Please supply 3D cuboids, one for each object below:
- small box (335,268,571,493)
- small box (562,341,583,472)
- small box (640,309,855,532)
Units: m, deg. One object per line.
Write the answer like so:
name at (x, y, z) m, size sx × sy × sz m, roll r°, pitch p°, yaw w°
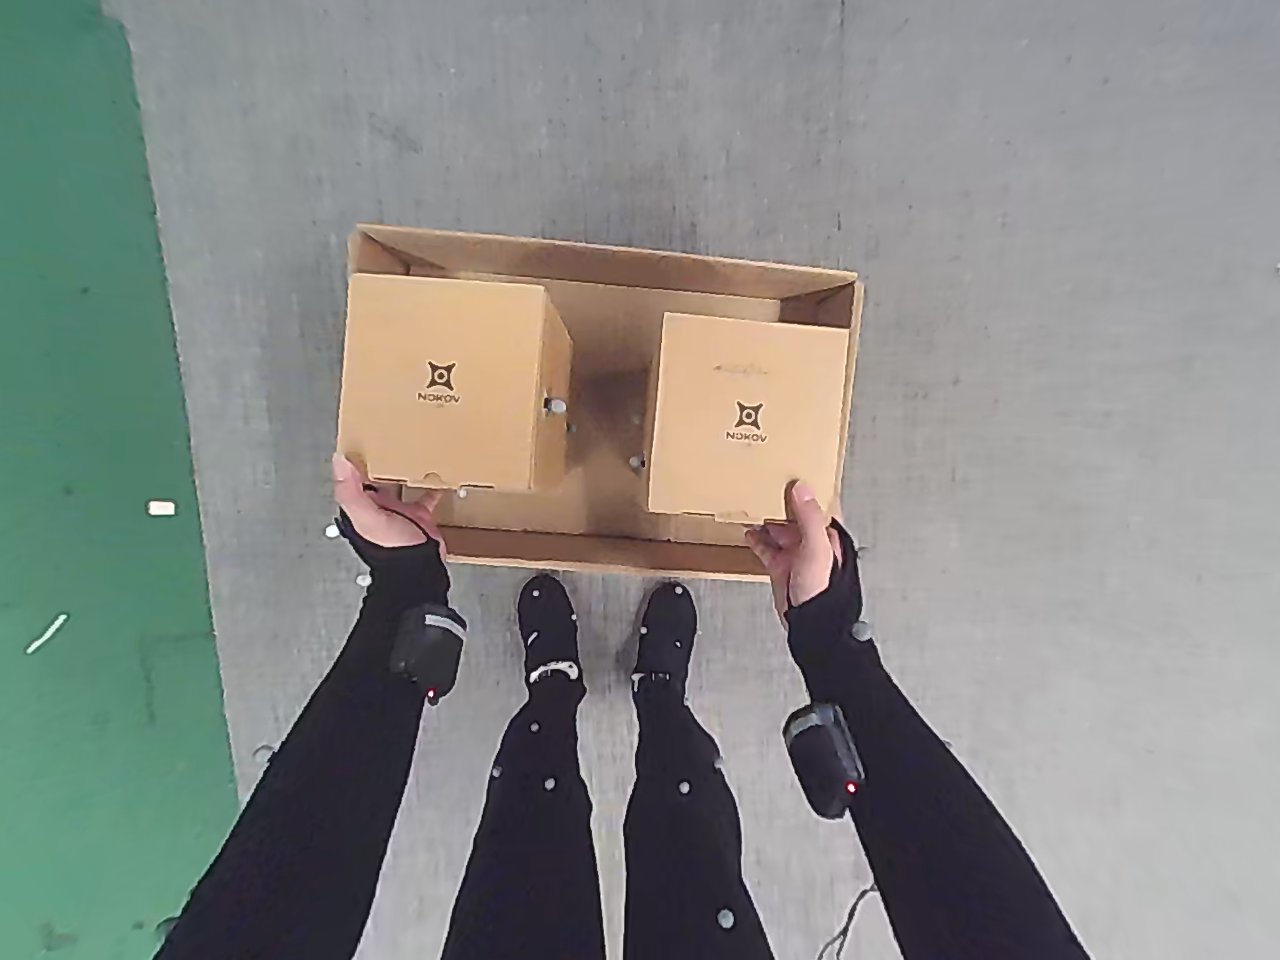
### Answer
small box at (-0.162, -0.081, 0.525) m, size 0.168 × 0.176 × 0.179 m, roll 4°, pitch 90°, yaw 0°
small box at (-0.173, -0.093, 0.698) m, size 0.179 × 0.176 × 0.168 m, roll 5°, pitch 95°, yaw -3°
small box at (0.091, -0.051, 0.540) m, size 0.168 × 0.176 × 0.179 m, roll 6°, pitch 90°, yaw -3°
